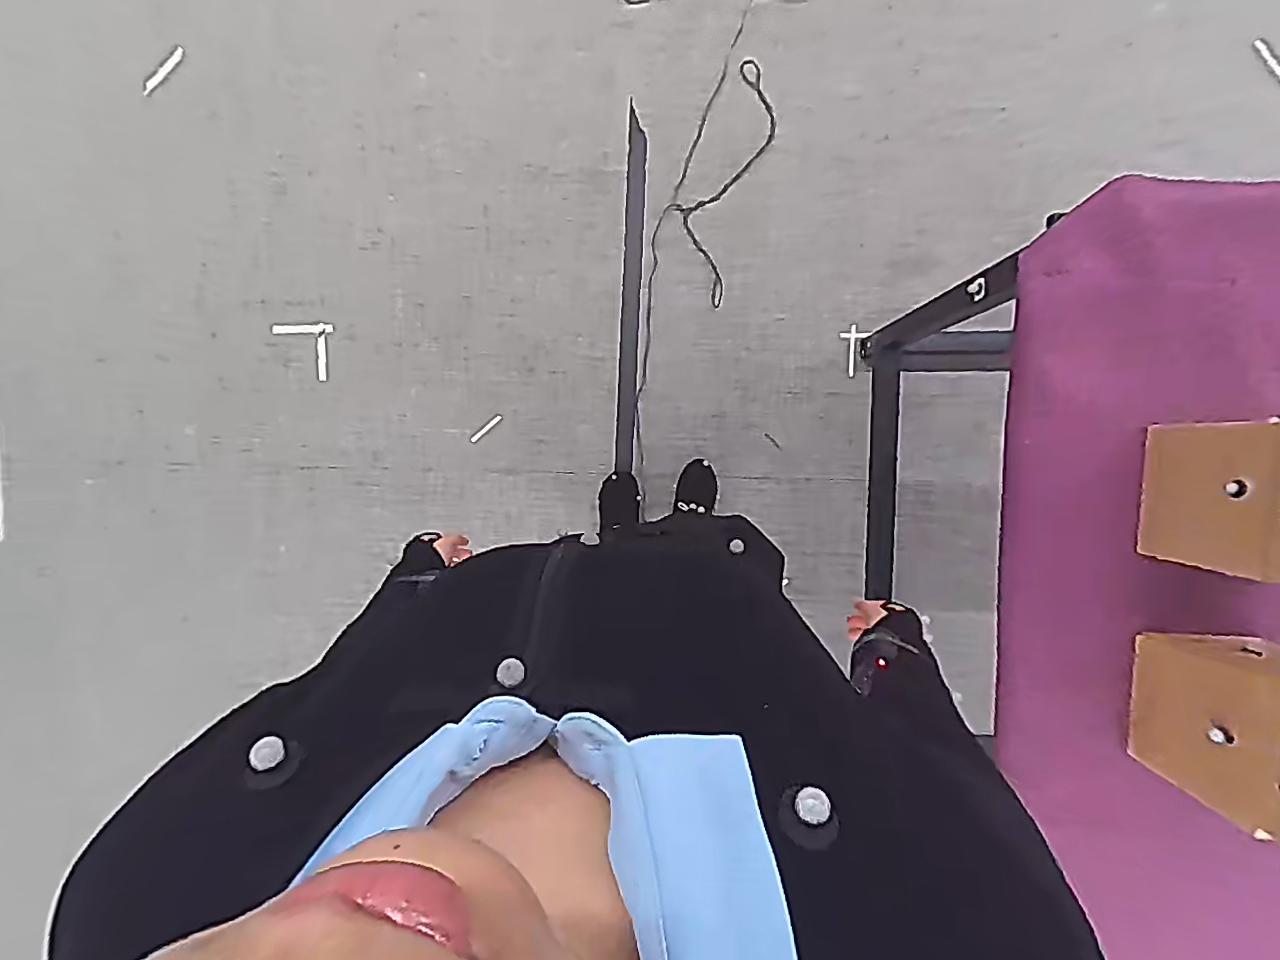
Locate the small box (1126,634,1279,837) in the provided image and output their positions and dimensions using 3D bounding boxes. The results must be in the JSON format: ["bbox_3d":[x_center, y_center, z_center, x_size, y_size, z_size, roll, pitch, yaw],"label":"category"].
[{"bbox_3d":[0.761,0.309,0.673,0.168,0.176,0.179,2,93,2],"label":"small box"}]

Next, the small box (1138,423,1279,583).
[{"bbox_3d":[0.761,0.023,0.655,0.168,0.176,0.179,2,94,2],"label":"small box"}]
